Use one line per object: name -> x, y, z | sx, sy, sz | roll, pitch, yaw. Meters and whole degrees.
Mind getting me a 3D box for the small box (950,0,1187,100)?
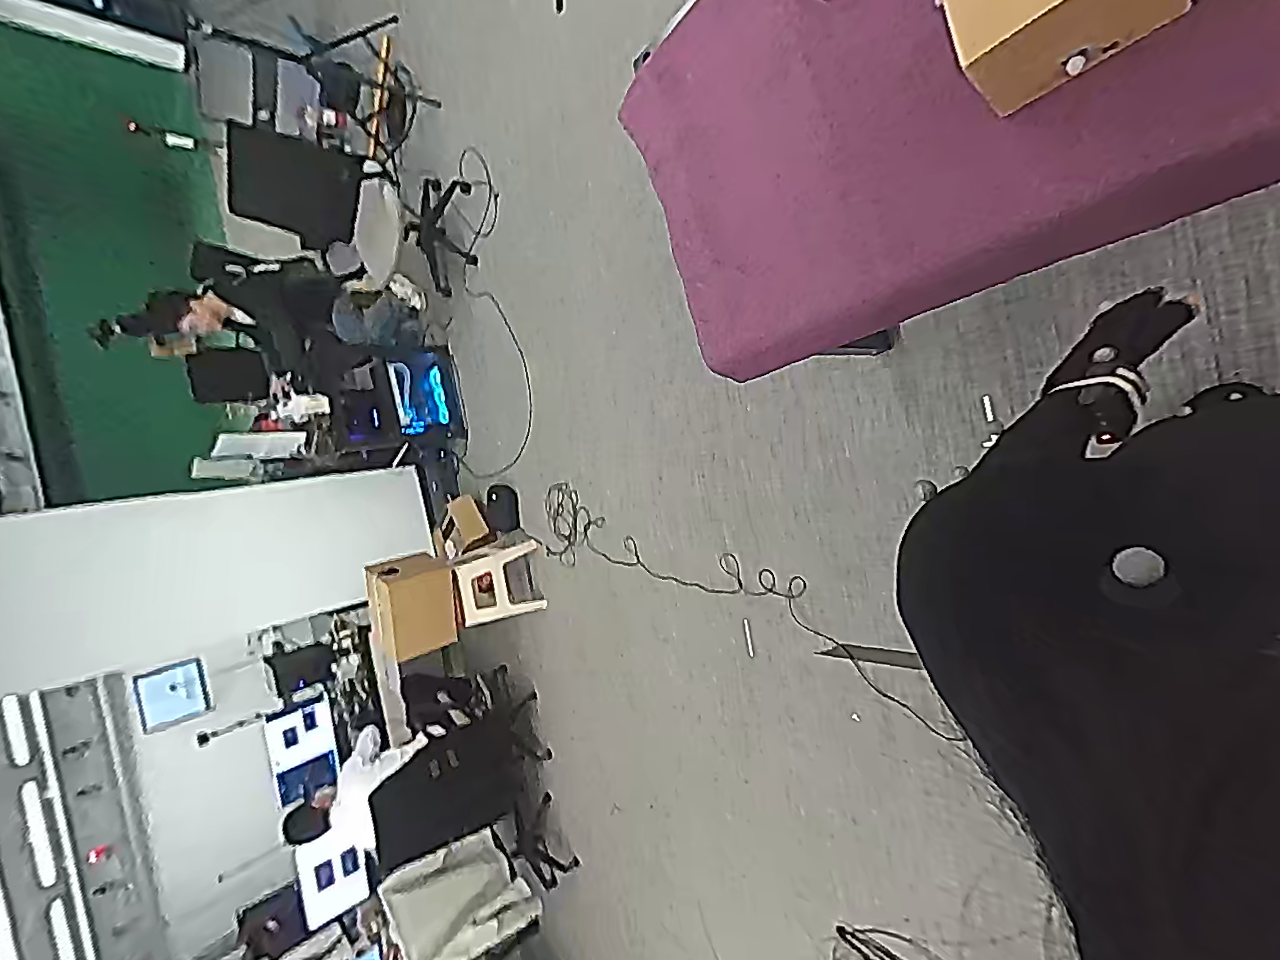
small box -> 0.410, -0.525, 0.528 | 0.168, 0.176, 0.179 | -15, 88, 48
